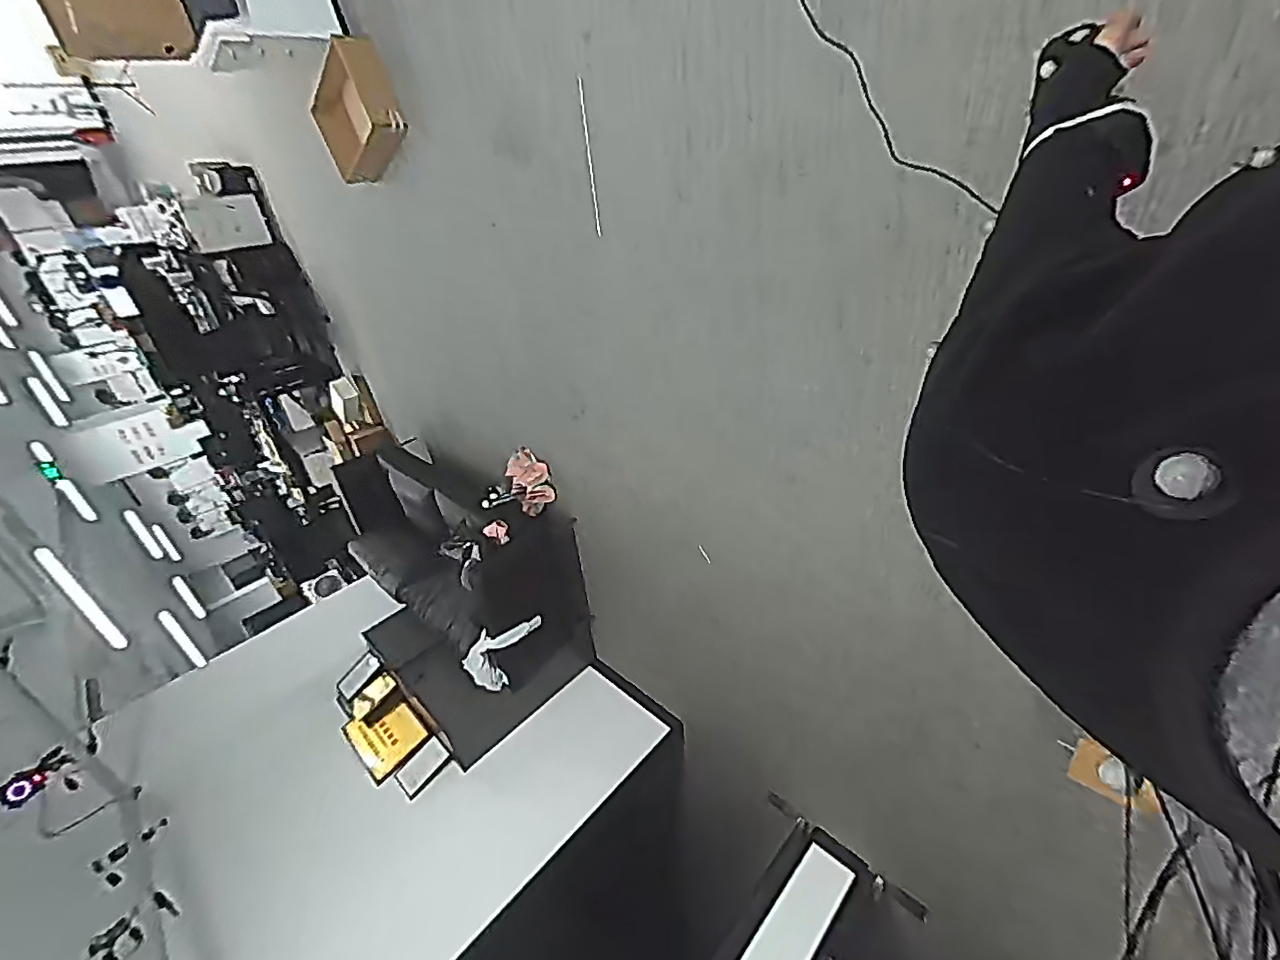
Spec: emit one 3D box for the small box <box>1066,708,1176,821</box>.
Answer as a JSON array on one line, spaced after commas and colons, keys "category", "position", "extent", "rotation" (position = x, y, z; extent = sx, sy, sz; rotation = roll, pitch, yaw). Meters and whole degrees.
[{"category": "small box", "position": [1.278, 0.745, 1.439], "extent": [0.179, 0.176, 0.168], "rotation": [19, 128, 41]}]
